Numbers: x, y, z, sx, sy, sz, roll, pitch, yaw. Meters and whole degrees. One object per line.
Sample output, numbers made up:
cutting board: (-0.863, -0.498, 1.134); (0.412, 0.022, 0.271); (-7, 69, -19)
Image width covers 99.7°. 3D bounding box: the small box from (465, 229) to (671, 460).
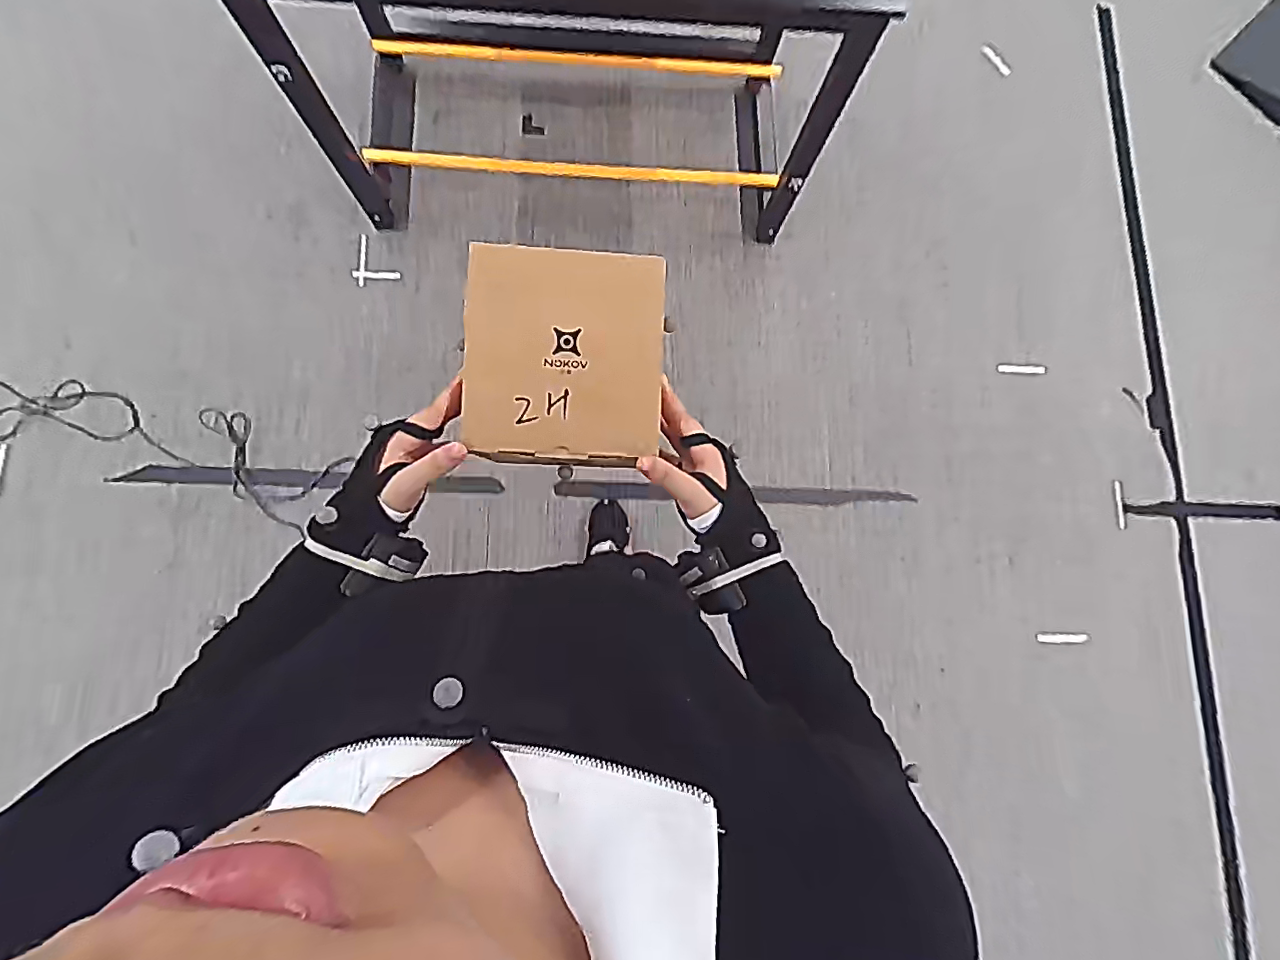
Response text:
small box: (-0.065, -0.115, 0.529); (0.168, 0.176, 0.179); (2, 89, -5)
